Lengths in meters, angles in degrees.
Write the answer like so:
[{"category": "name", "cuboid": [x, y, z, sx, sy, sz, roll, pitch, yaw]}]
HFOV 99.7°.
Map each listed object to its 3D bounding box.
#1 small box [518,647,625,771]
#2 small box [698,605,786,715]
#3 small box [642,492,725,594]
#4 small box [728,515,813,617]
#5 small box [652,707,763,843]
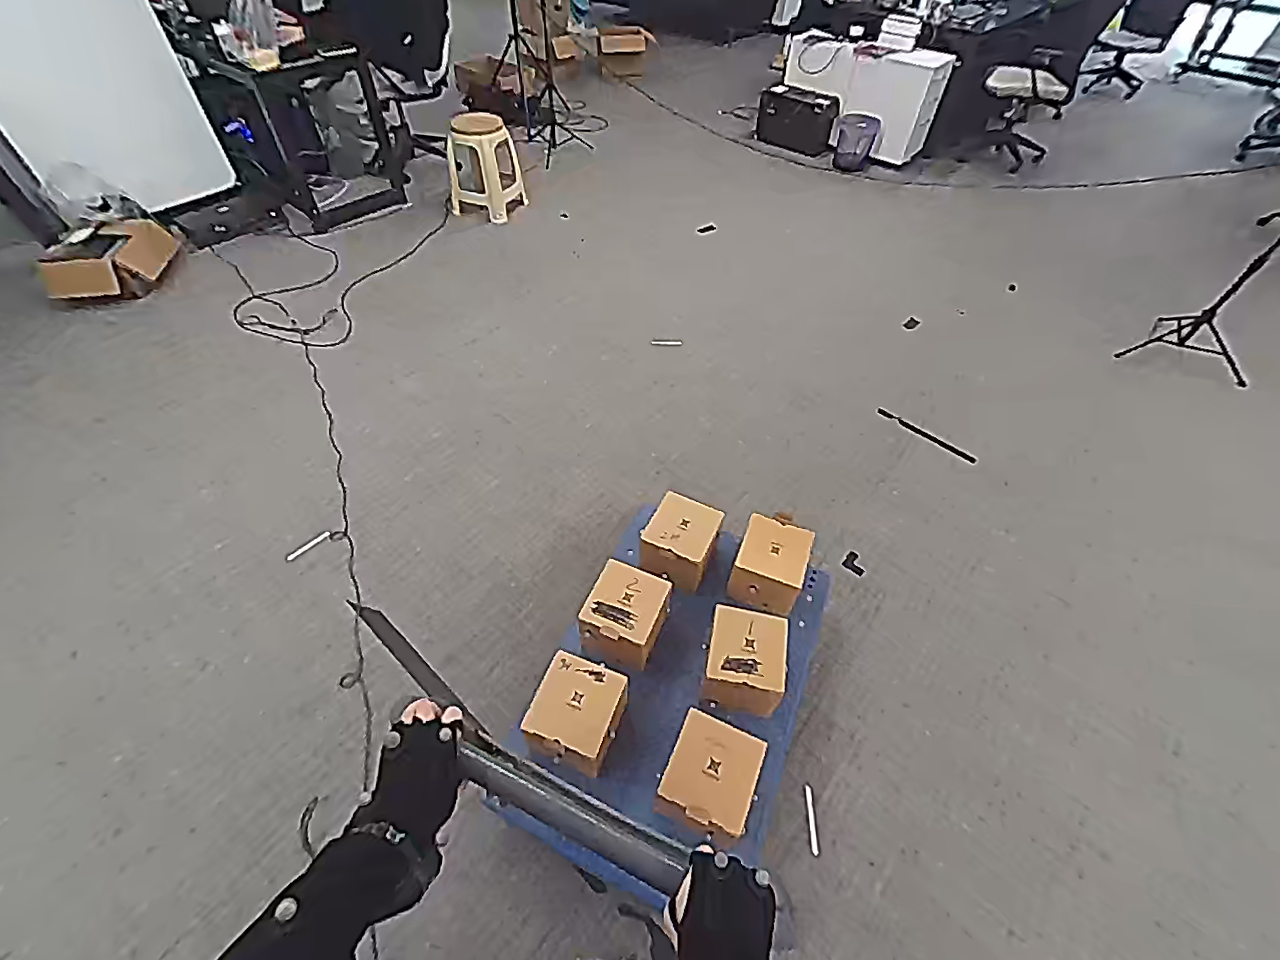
[{"category": "small box", "cuboid": [-0.139, 0.500, 1.169, 0.168, 0.176, 0.179, 19, 53, 12]}, {"category": "small box", "cuboid": [0.233, 0.421, 1.251, 0.168, 0.176, 0.179, 11, 50, 7]}, {"category": "small box", "cuboid": [0.110, 0.171, 1.451, 0.168, 0.176, 0.179, 23, 54, 16]}, {"category": "small box", "cuboid": [0.335, 0.229, 1.415, 0.168, 0.176, 0.179, 19, 52, 13]}, {"category": "small box", "cuboid": [0.133, 0.603, 1.098, 0.168, 0.176, 0.179, 22, 52, 15]}]
